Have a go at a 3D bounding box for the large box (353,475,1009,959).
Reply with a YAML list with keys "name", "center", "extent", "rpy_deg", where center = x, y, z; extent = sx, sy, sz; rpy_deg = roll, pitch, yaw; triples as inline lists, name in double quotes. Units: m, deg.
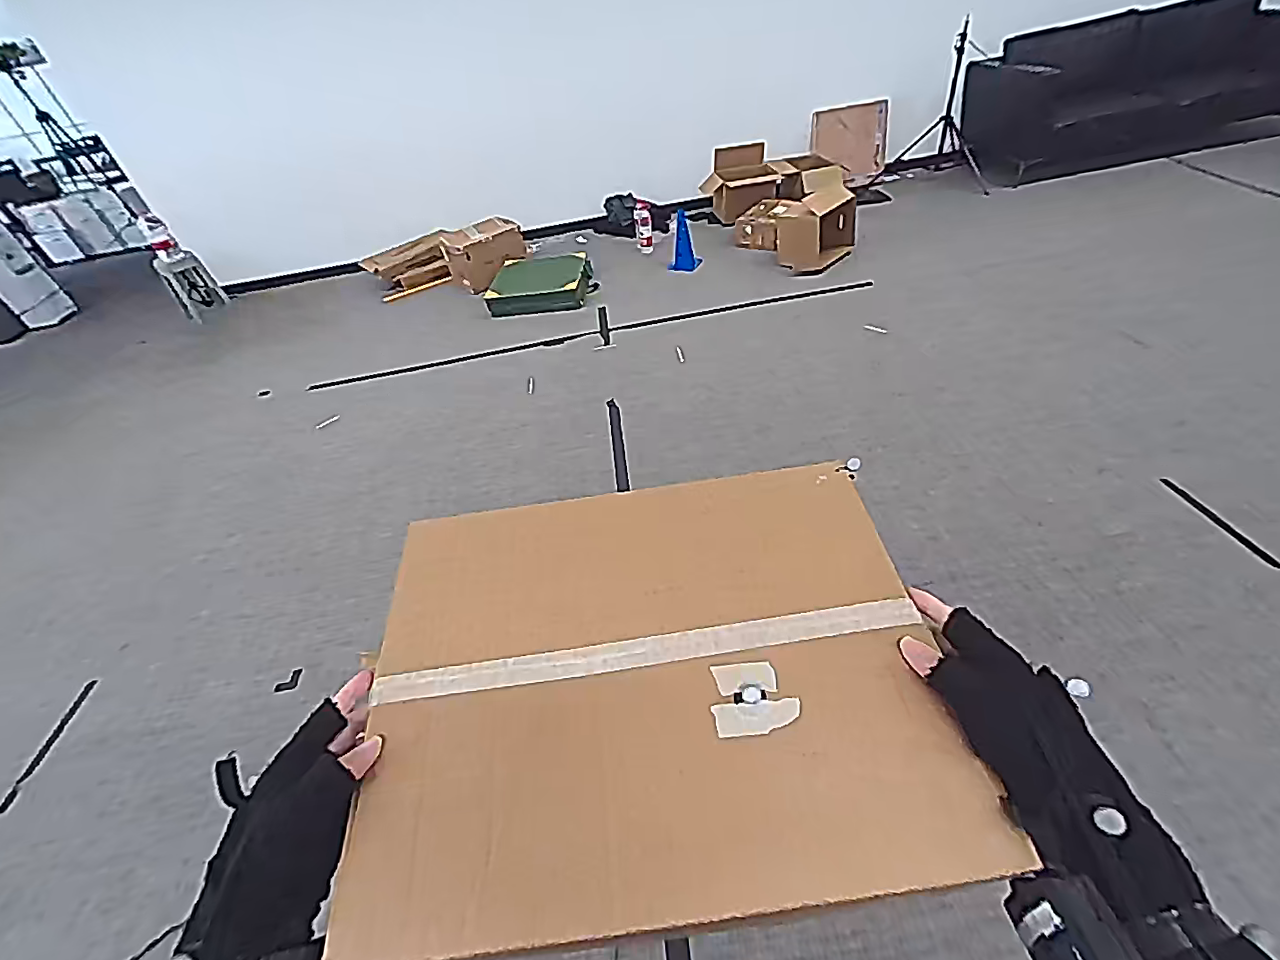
- name: "large box"
  center: [0.019, 0.233, 0.525]
  extent: [0.408, 0.320, 0.320]
  rpy_deg: [-8, 50, -1]
